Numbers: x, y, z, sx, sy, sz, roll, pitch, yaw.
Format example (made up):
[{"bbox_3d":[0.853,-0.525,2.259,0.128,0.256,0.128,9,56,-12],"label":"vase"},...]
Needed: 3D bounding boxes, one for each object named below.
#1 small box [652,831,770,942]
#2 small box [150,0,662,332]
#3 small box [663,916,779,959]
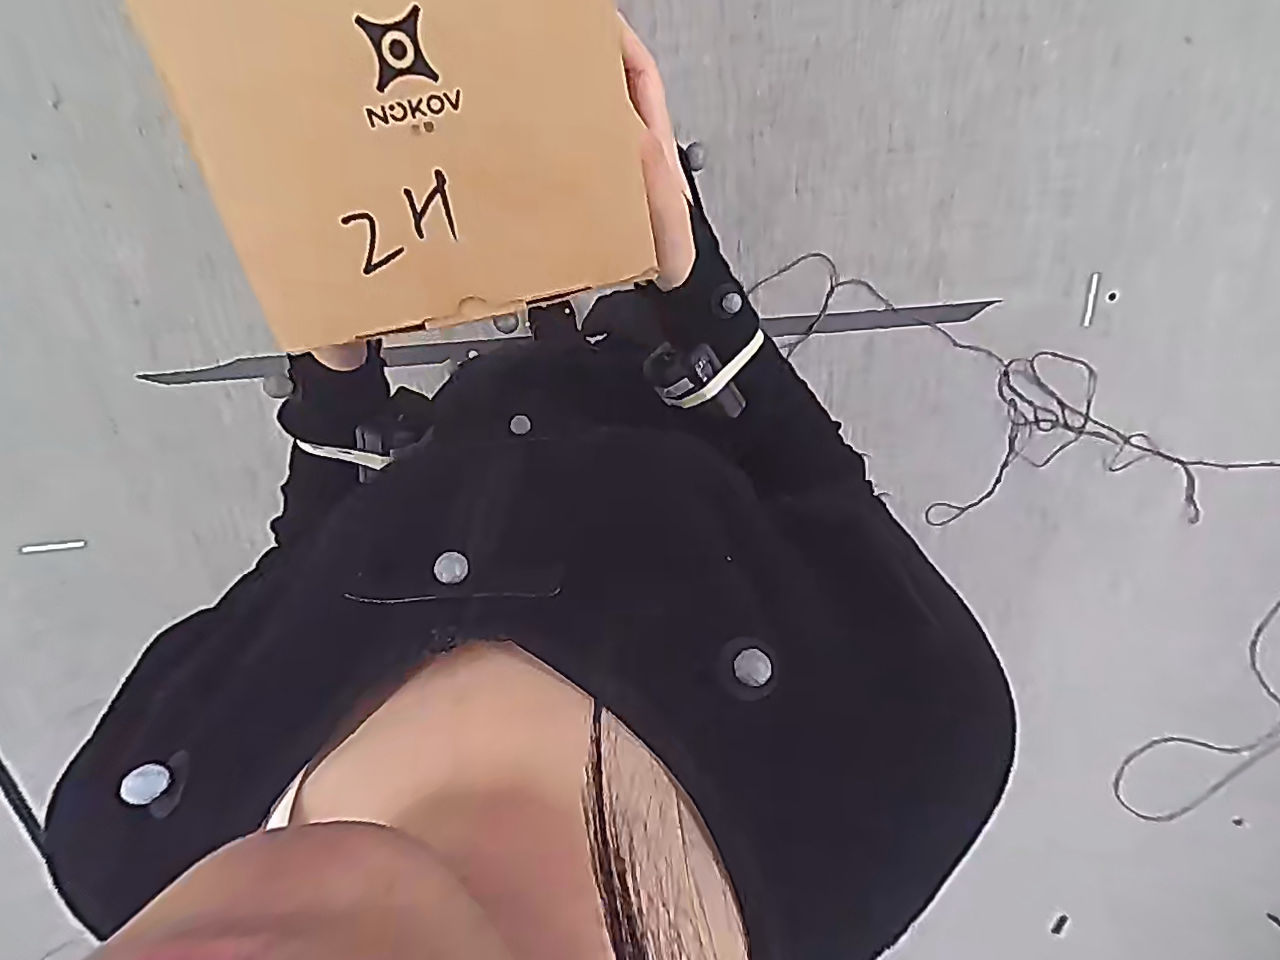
[{"bbox_3d":[0.116,0.734,0.924,0.168,0.176,0.179,-6,109,-4],"label":"small box"},{"bbox_3d":[-0.095,-0.183,0.276,0.168,0.176,0.179,-13,111,-3],"label":"small box"},{"bbox_3d":[0.129,0.773,0.766,0.168,0.176,0.179,-7,108,-5],"label":"small box"}]
